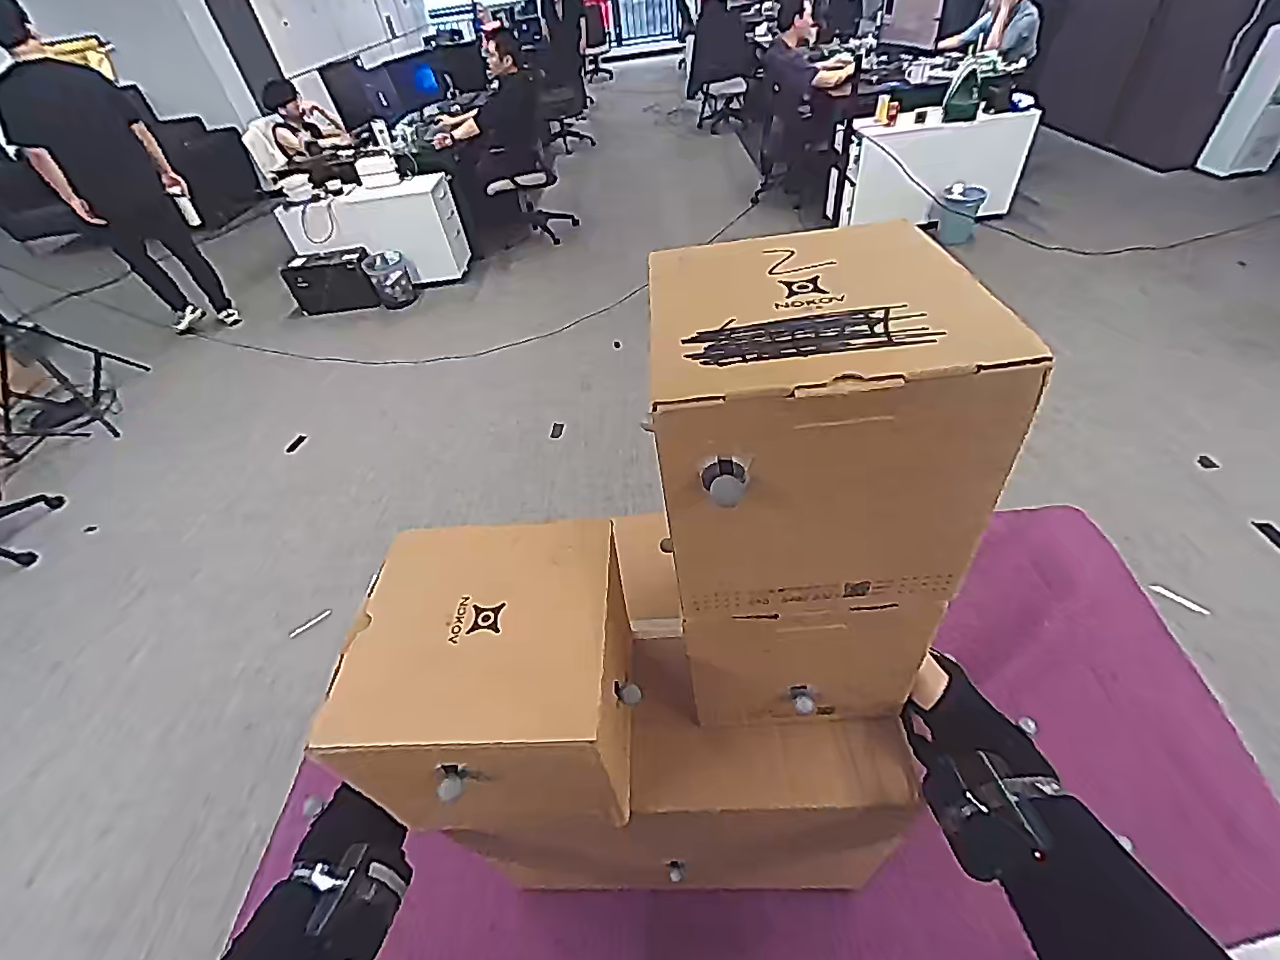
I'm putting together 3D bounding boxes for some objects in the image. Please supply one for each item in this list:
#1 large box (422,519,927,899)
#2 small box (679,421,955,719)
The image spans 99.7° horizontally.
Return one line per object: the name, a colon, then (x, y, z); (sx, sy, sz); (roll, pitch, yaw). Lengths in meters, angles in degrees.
large box: (0.039, 0.261, 0.627); (0.408, 0.320, 0.320); (-6, 42, 5)
small box: (0.122, 0.075, 0.450); (0.168, 0.176, 0.179); (-6, 43, 5)
